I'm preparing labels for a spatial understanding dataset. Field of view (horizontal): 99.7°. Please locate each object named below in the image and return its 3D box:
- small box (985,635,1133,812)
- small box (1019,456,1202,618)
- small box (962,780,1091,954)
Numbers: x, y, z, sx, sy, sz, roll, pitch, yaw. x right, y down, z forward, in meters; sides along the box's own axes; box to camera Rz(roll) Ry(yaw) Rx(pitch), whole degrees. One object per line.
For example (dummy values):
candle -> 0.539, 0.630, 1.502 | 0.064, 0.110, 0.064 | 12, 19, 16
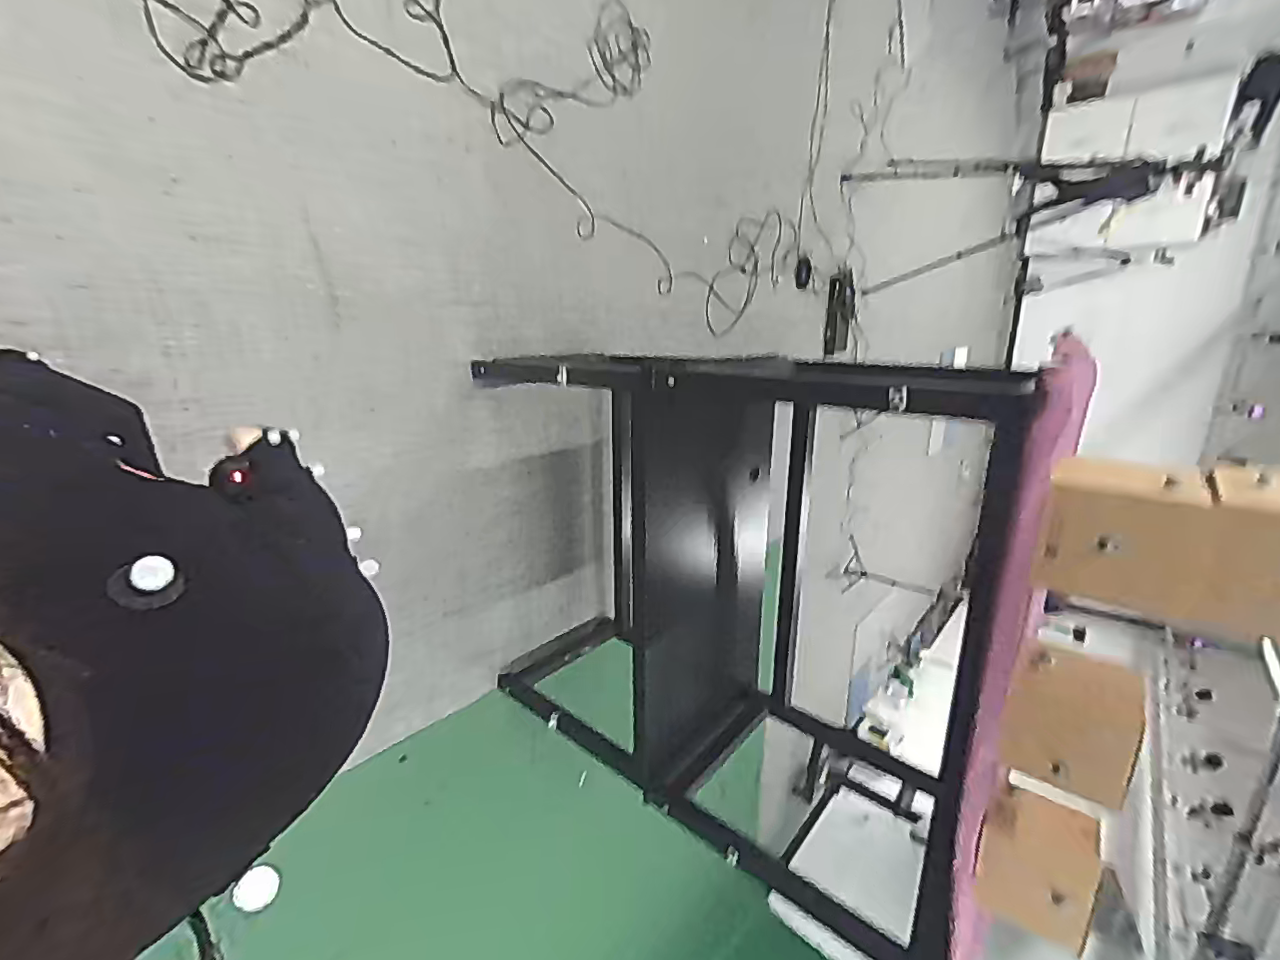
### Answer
small box -> 0.692, 0.391, 0.901 | 0.168, 0.176, 0.179 | -20, 114, -46
small box -> 0.671, 0.069, 0.784 | 0.179, 0.176, 0.168 | -20, 116, -45
small box -> 0.713, 0.696, 1.004 | 0.168, 0.176, 0.179 | -16, 112, -49
